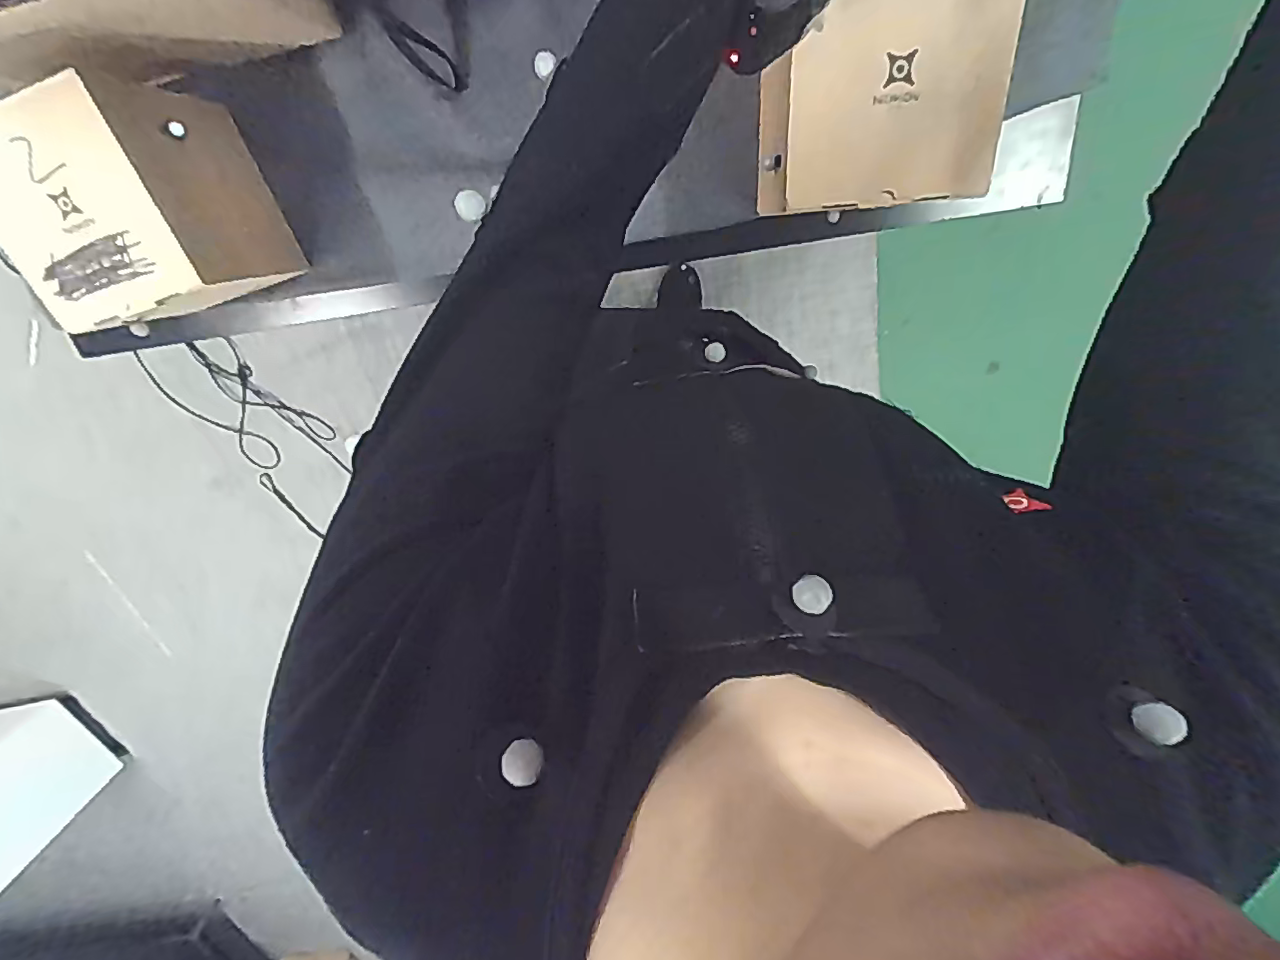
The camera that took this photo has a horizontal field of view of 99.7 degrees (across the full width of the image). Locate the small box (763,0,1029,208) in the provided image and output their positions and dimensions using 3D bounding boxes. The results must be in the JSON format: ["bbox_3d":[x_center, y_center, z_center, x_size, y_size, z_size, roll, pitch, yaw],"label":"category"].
[{"bbox_3d":[0.205,-0.345,0.481,0.168,0.176,0.179,-2,117,5],"label":"small box"}]
